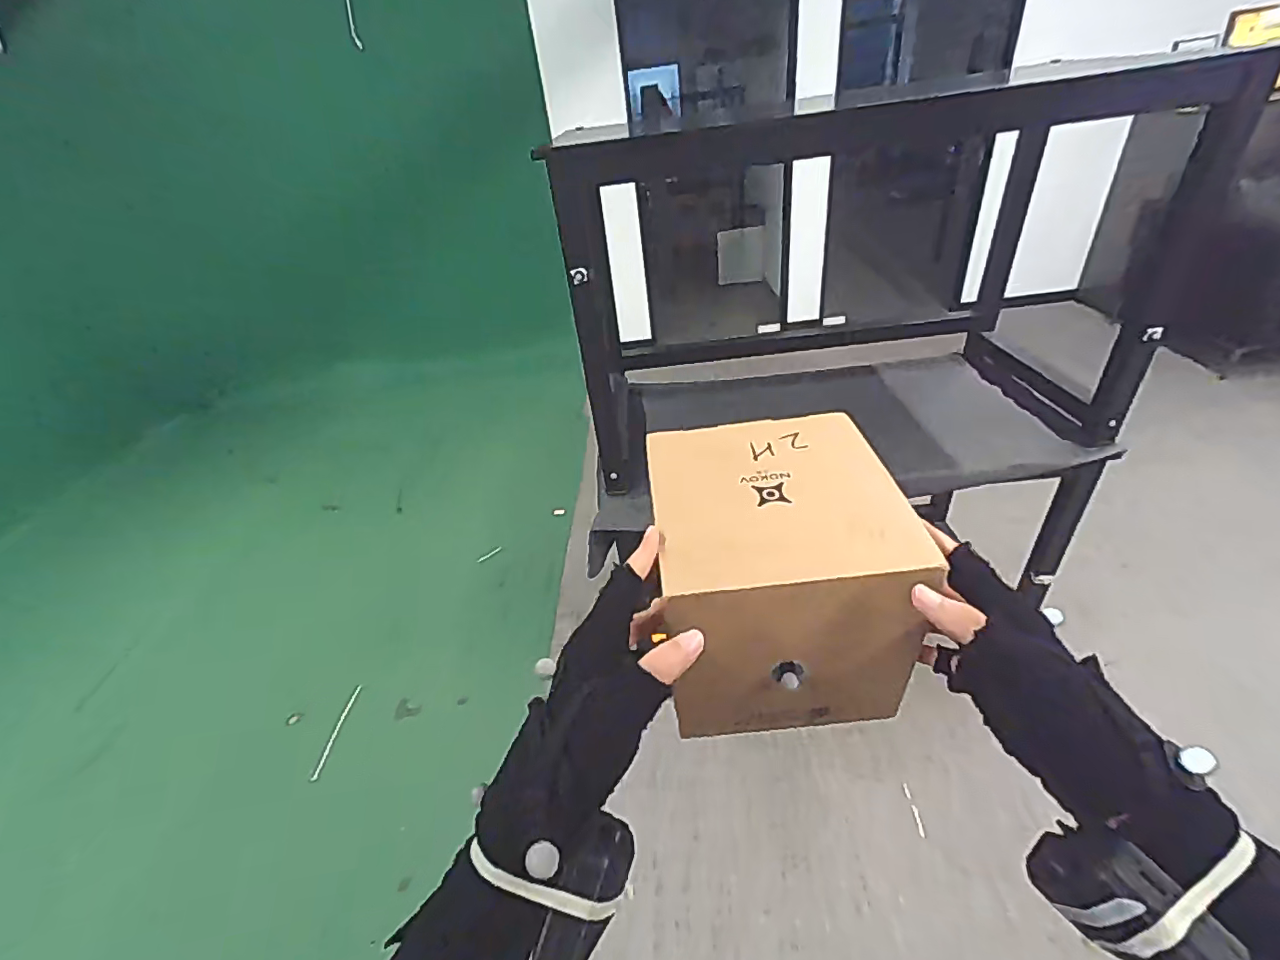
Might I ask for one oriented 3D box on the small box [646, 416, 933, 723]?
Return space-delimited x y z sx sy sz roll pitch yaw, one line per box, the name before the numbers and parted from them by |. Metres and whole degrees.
small box | 0.097 0.072 0.427 0.168 0.176 0.179 -6 36 2
